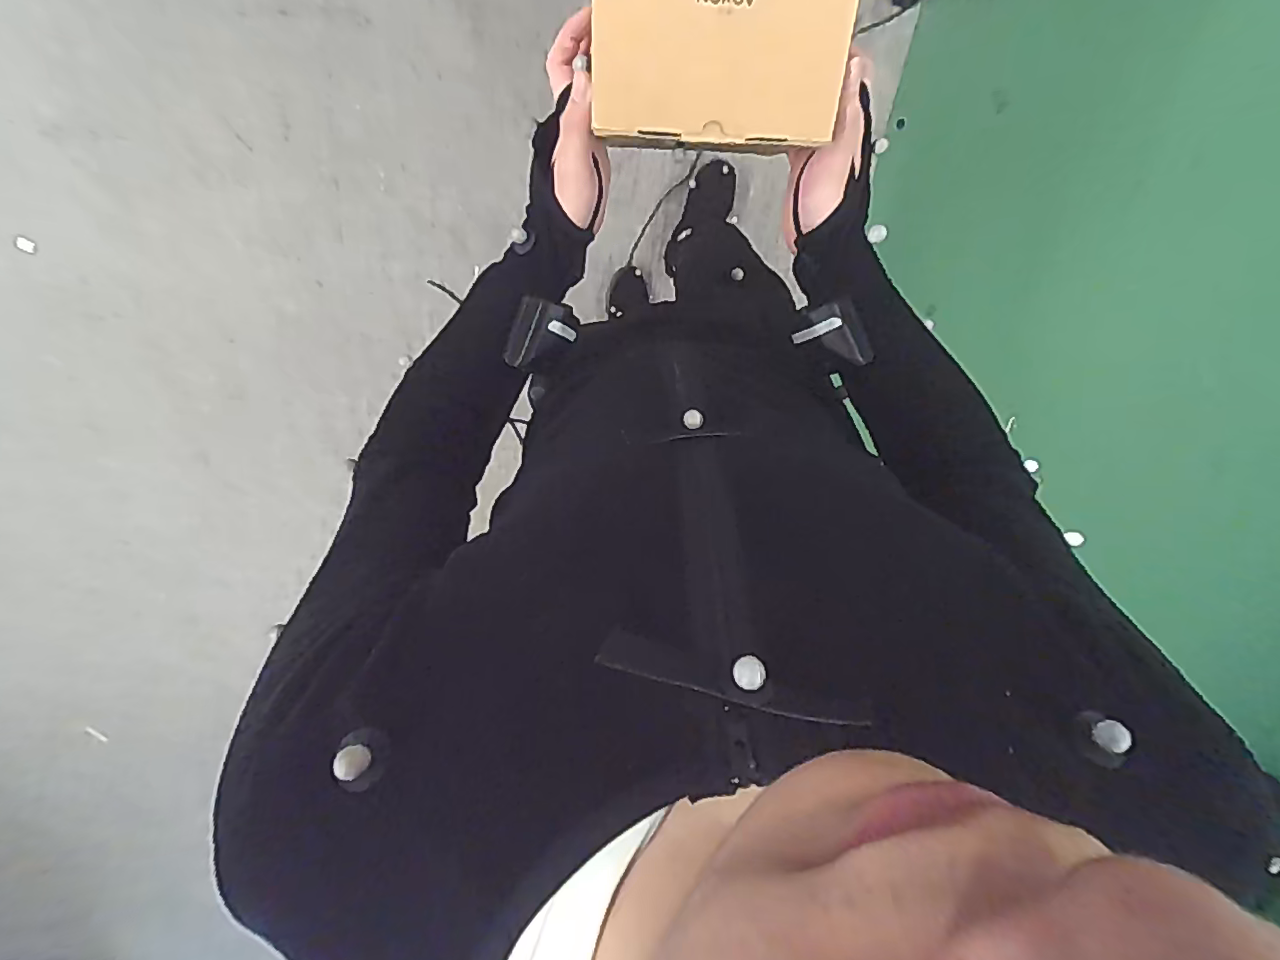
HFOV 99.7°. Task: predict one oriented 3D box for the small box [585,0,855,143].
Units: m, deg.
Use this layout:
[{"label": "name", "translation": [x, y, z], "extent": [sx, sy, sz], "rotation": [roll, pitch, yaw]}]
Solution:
[{"label": "small box", "translation": [0.047, -0.348, 0.382], "extent": [0.168, 0.176, 0.179], "rotation": [1, 121, -2]}]
